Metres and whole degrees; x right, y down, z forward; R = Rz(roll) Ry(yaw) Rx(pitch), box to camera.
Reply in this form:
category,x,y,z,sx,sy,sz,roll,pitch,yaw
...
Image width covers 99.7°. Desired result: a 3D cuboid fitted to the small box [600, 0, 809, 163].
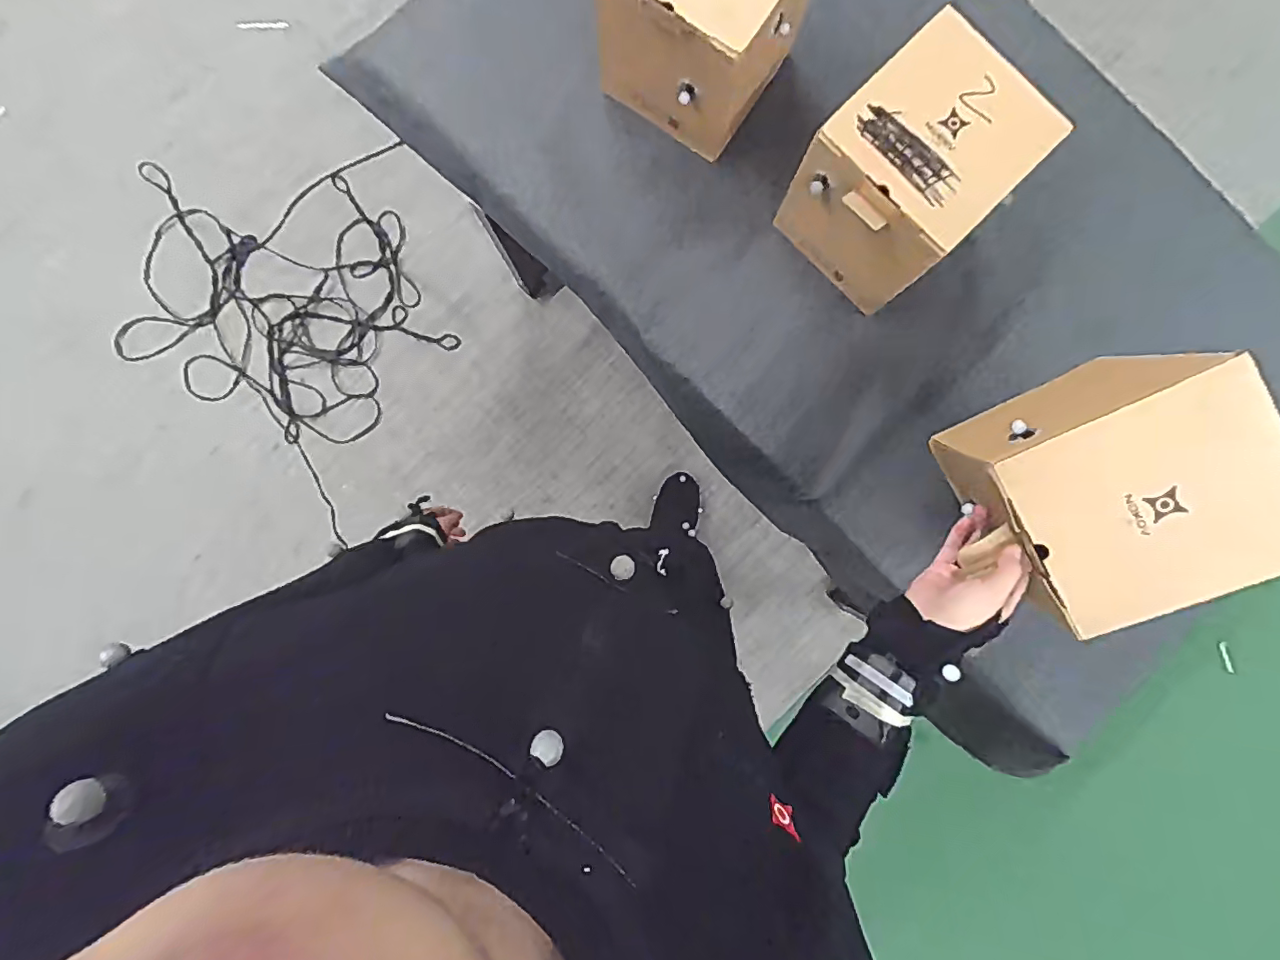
category,x,y,z,sx,sy,sz,roll,pitch,yaw
small box,0.074,-0.497,0.587,0.168,0.176,0.179,34,87,0

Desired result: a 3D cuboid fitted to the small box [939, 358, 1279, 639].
category,x,y,z,sx,sy,sz,roll,pitch,yaw
small box,0.408,0.004,0.483,0.179,0.176,0.168,-29,94,17
